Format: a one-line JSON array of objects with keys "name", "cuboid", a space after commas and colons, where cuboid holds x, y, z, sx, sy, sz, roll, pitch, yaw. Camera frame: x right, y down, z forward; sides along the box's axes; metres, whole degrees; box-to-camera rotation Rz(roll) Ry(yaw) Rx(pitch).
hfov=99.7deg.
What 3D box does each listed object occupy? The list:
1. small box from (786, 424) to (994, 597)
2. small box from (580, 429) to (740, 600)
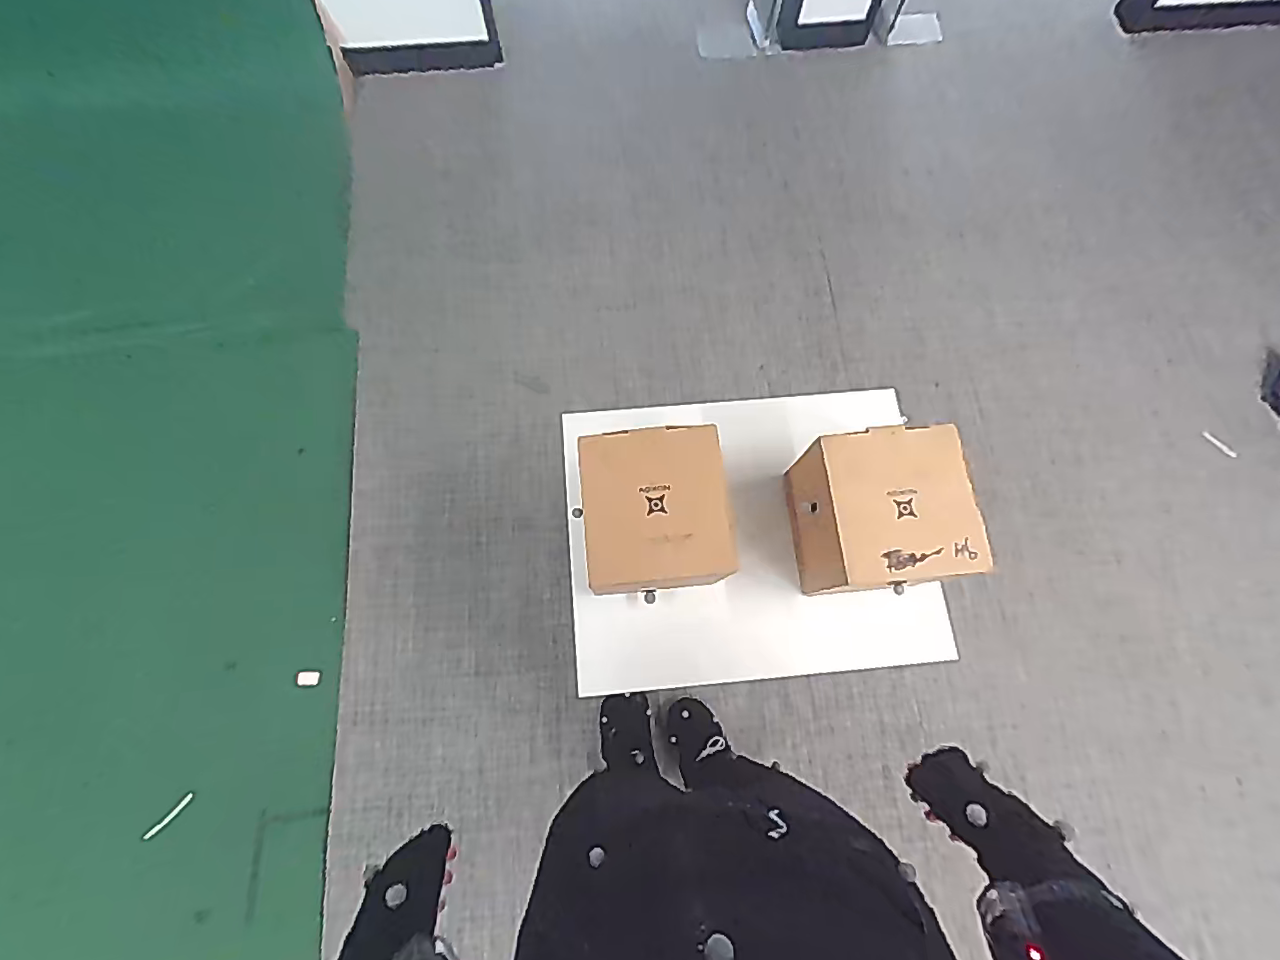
[{"name": "small box", "cuboid": [0.296, 0.046, 0.686, 0.168, 0.176, 0.179, -6, 74, -2]}, {"name": "small box", "cuboid": [0.018, 0.052, 0.685, 0.168, 0.176, 0.179, -7, 76, -2]}]
